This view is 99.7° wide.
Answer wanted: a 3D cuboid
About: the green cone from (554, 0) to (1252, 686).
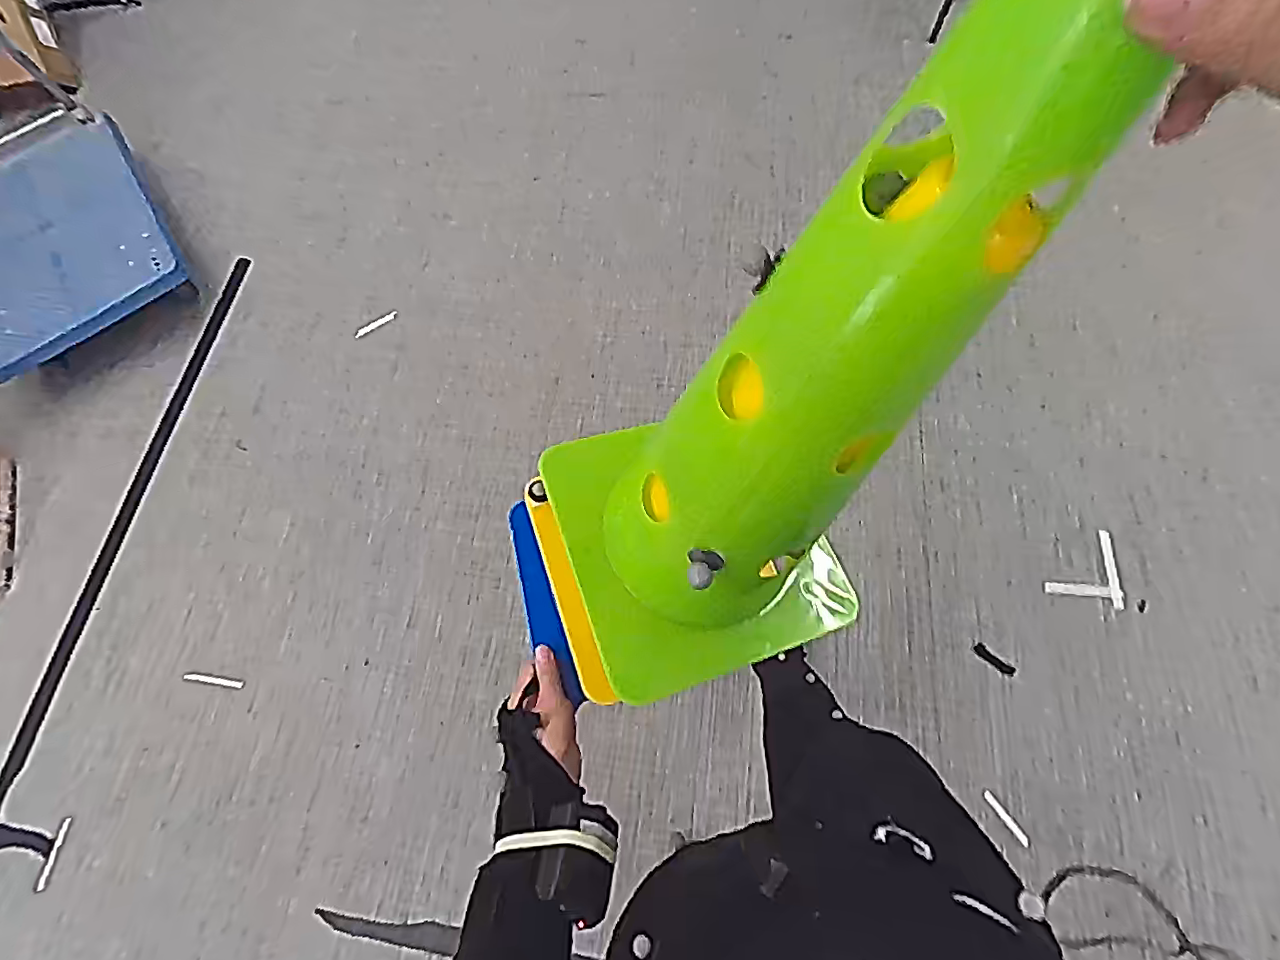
[{"bbox_3d":[0.086,-0.054,0.257,0.200,0.368,0.202,-14,66,-20],"label":"green cone"}]
